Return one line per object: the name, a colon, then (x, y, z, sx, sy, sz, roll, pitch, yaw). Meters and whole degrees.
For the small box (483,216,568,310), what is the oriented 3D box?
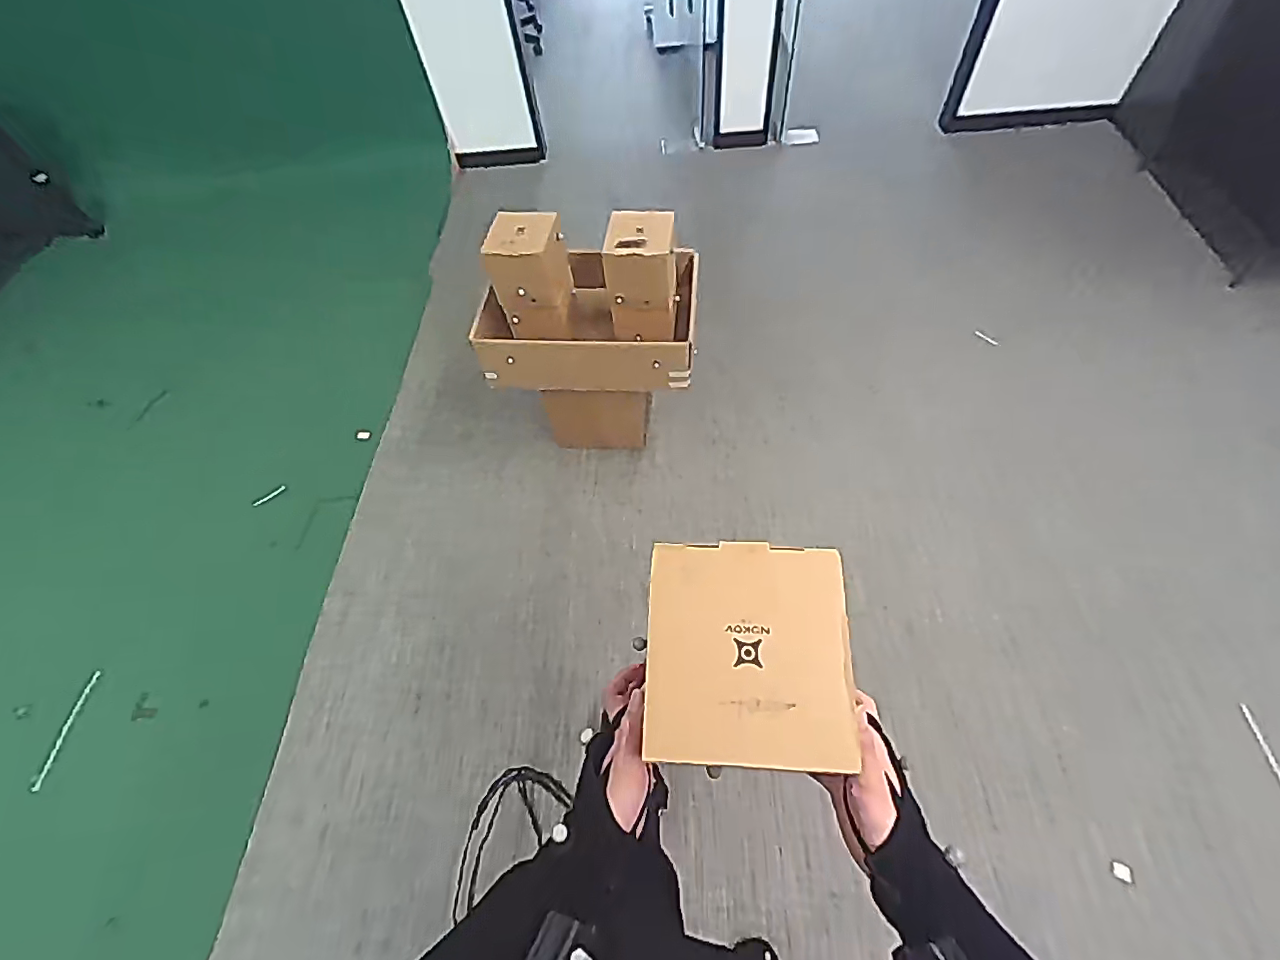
small box: (-0.299, -0.585, 1.460, 0.168, 0.176, 0.179, 4, 59, 9)

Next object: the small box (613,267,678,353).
small box: (0.021, -0.493, 1.566, 0.168, 0.176, 0.179, 3, 60, 7)

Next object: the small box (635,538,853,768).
small box: (0.087, 0.166, 0.512, 0.168, 0.176, 0.179, 1, 66, 5)

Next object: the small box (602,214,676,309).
small box: (0.004, -0.571, 1.422, 0.168, 0.176, 0.179, 4, 59, 7)
